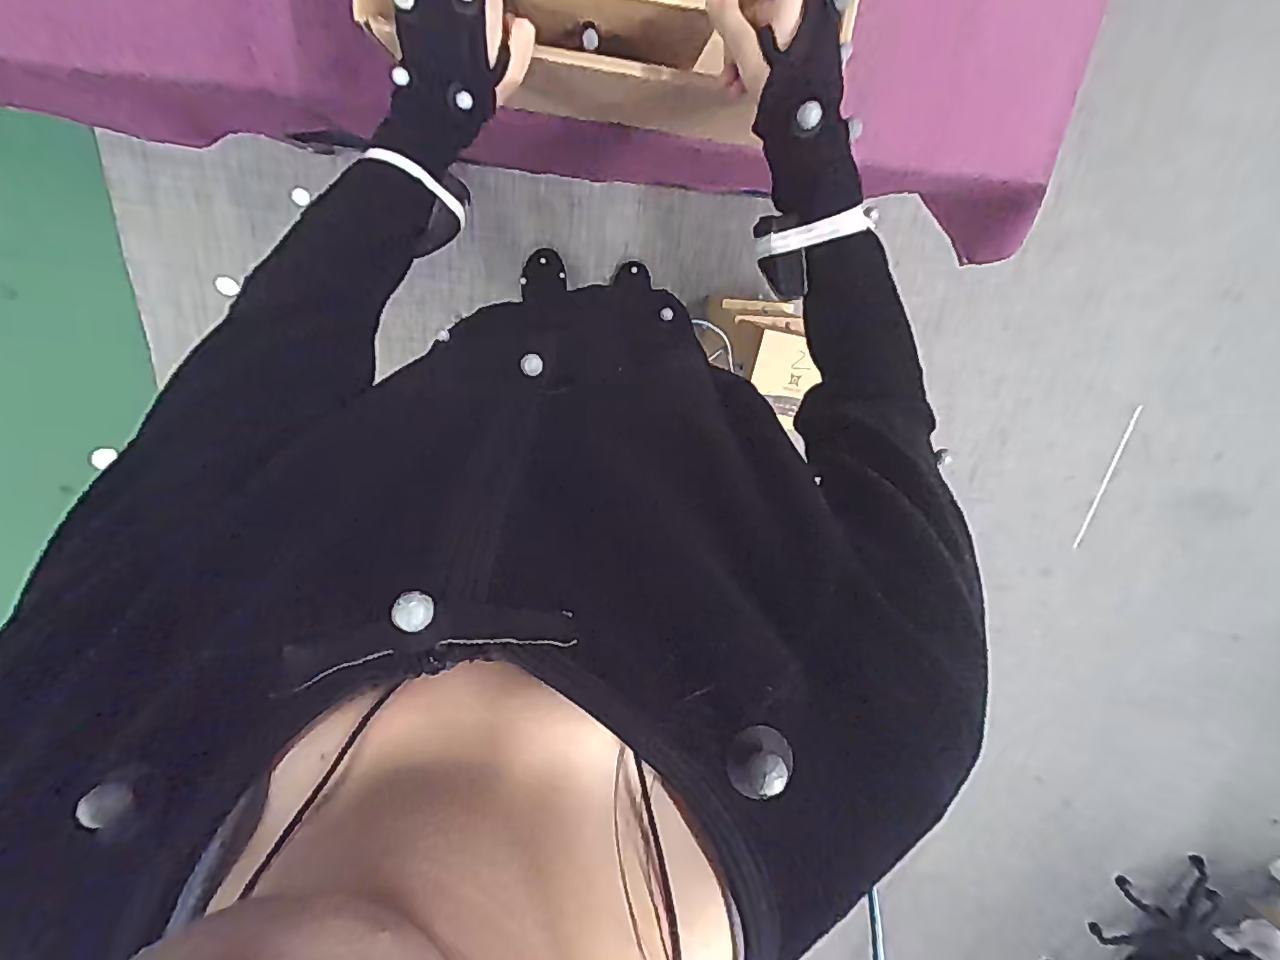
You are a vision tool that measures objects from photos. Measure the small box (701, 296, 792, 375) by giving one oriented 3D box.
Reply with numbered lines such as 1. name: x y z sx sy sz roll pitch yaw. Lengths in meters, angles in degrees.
1. small box: 0.262 -0.371 1.370 0.179 0.176 0.168 2 113 -6

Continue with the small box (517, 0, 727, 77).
1. small box: -0.009 -0.469 0.451 0.168 0.176 0.179 4 112 -6
